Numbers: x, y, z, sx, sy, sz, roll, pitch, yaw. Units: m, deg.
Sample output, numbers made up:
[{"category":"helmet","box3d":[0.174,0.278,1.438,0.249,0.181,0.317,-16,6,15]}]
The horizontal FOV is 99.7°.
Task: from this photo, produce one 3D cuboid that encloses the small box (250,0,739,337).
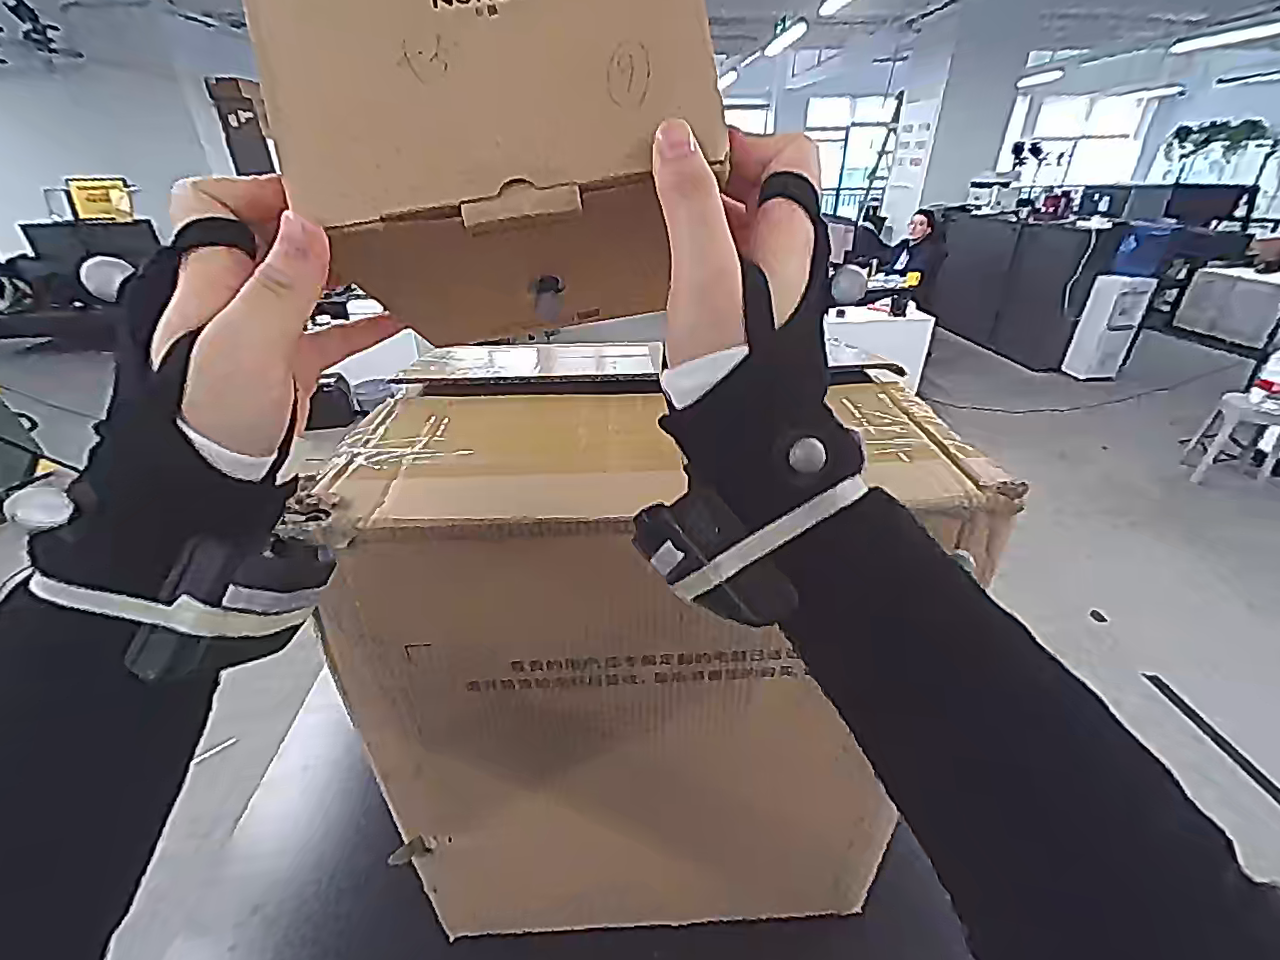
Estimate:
[{"category":"small box","box3d":[-0.060,-0.181,0.275,0.168,0.179,0.176,-11,1,-3]}]
